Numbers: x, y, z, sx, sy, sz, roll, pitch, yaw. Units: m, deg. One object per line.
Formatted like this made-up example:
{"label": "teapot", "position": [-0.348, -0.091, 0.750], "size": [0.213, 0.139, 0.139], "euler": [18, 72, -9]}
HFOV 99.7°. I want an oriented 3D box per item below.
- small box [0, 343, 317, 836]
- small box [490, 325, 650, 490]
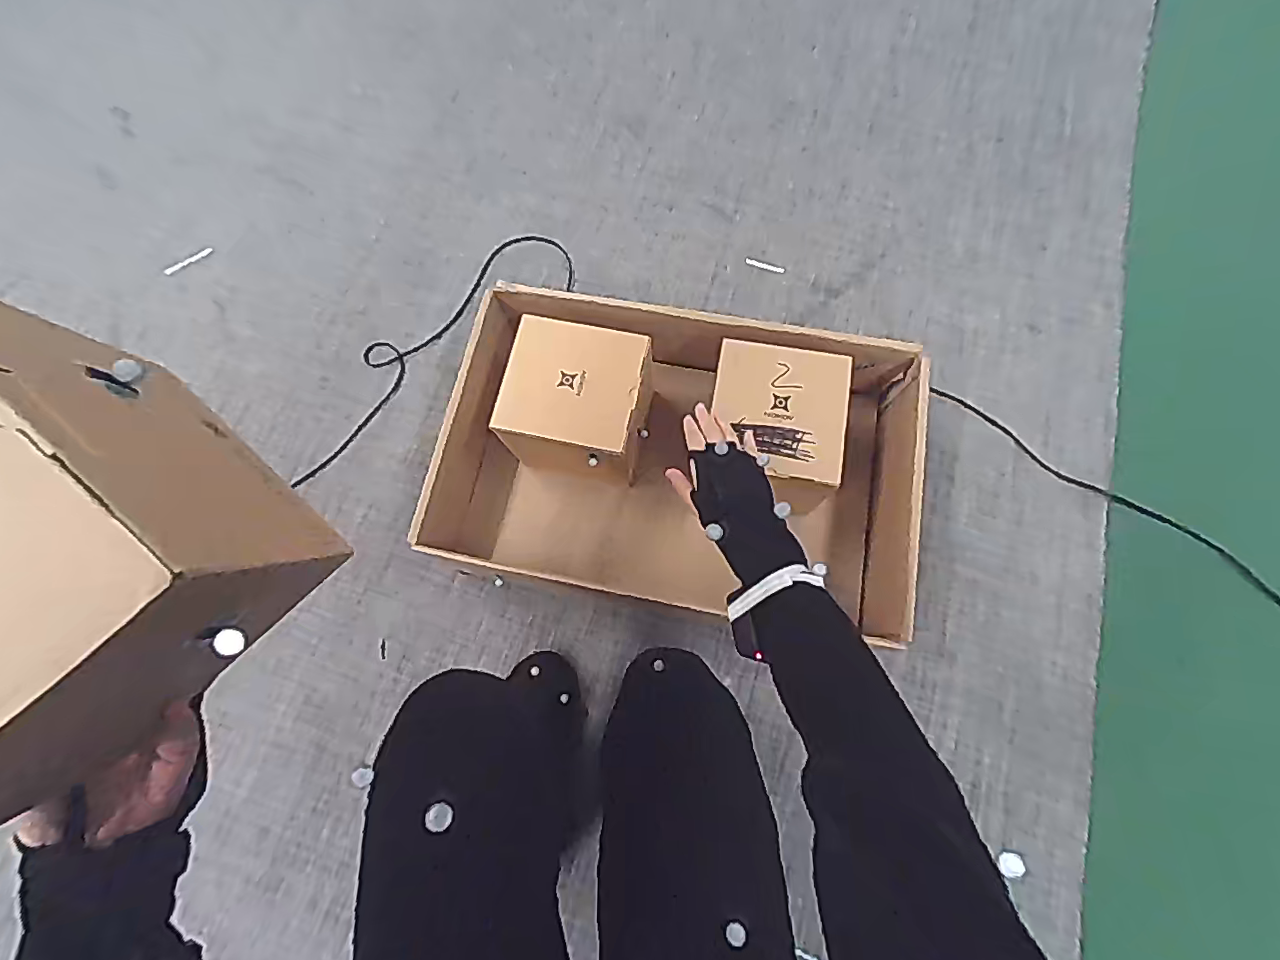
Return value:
{"label": "small box", "position": [-0.292, 0.050, 0.256], "size": [0.179, 0.176, 0.168], "euler": [-44, 92, -10]}
{"label": "small box", "position": [-0.087, -0.093, 0.770], "size": [0.179, 0.176, 0.168], "euler": [11, 75, 4]}
